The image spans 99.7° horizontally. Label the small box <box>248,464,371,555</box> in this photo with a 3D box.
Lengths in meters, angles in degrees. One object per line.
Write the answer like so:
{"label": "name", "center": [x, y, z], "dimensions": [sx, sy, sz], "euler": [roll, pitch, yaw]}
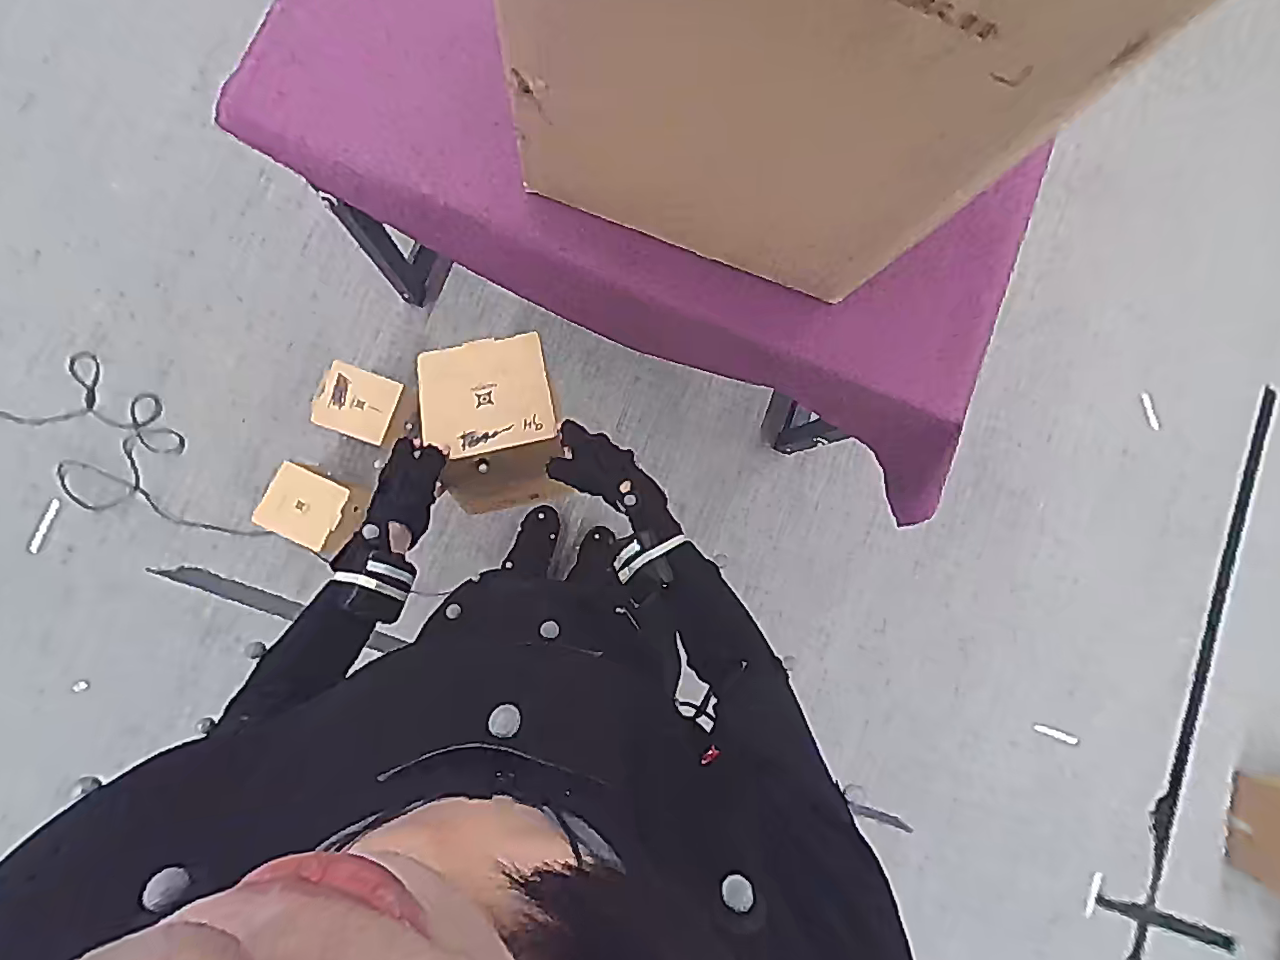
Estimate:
{"label": "small box", "center": [-0.816, 0.075, 1.358], "dimensions": [0.179, 0.176, 0.168], "euler": [26, 83, -4]}

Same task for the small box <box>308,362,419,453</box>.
{"label": "small box", "center": [-0.698, -0.176, 1.386], "dimensions": [0.179, 0.176, 0.168], "euler": [19, 84, -6]}

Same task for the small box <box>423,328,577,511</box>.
{"label": "small box", "center": [-0.188, -0.078, 0.750], "dimensions": [0.168, 0.176, 0.179], "euler": [-12, 65, -5]}
